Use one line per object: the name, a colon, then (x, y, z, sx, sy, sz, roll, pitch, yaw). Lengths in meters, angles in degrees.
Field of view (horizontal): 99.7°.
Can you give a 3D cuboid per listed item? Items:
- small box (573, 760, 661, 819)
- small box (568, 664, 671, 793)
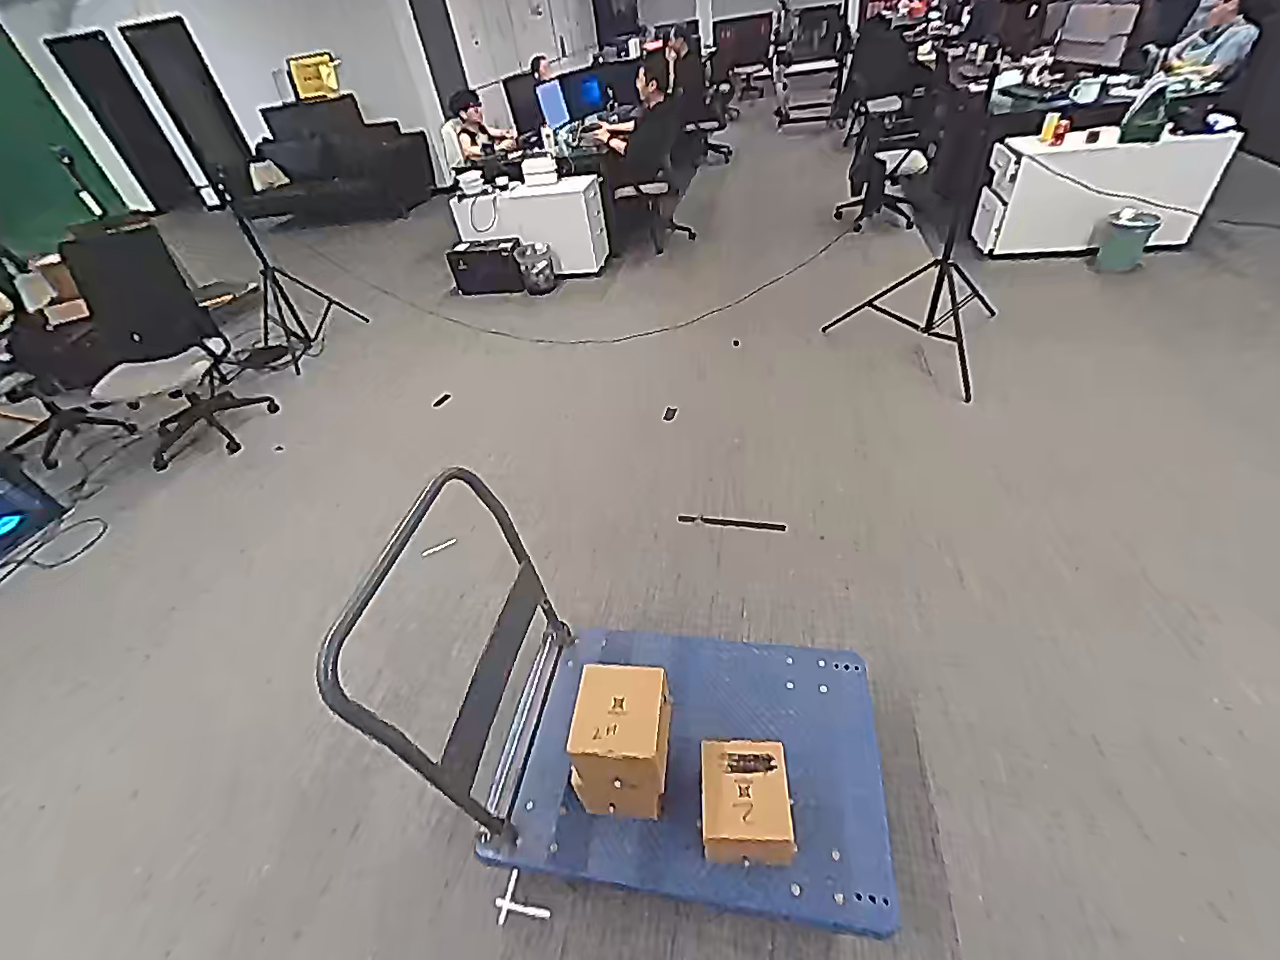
small box: (-0.038, 0.612, 1.185, 0.168, 0.176, 0.179, -1, 42, 9)
small box: (-0.031, 0.490, 1.071, 0.168, 0.176, 0.179, 0, 42, 10)
